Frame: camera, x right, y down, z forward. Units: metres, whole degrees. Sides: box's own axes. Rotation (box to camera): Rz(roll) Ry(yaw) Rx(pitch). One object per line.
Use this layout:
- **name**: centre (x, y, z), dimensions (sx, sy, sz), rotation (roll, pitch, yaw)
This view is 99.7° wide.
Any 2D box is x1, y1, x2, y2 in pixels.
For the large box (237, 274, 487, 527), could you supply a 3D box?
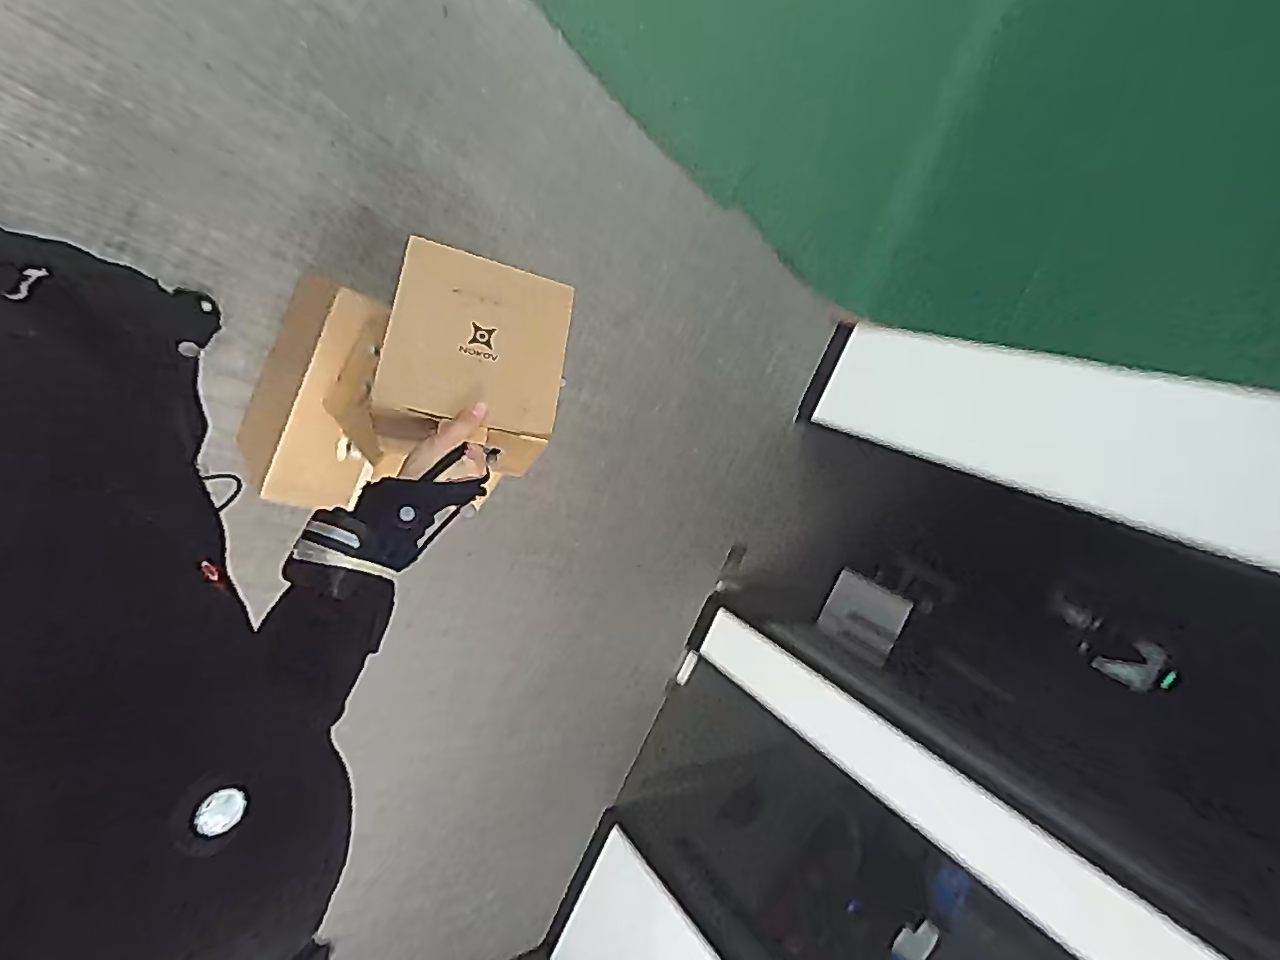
- **large box**: centre (-0.591, -0.165, 1.145), dimensions (0.320, 0.320, 0.408), rotation (20, 98, -46)

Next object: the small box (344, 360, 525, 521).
- **small box**: centre (-0.324, -0.066, 0.850), dimensions (0.168, 0.176, 0.179), rotation (-55, 137, -5)
